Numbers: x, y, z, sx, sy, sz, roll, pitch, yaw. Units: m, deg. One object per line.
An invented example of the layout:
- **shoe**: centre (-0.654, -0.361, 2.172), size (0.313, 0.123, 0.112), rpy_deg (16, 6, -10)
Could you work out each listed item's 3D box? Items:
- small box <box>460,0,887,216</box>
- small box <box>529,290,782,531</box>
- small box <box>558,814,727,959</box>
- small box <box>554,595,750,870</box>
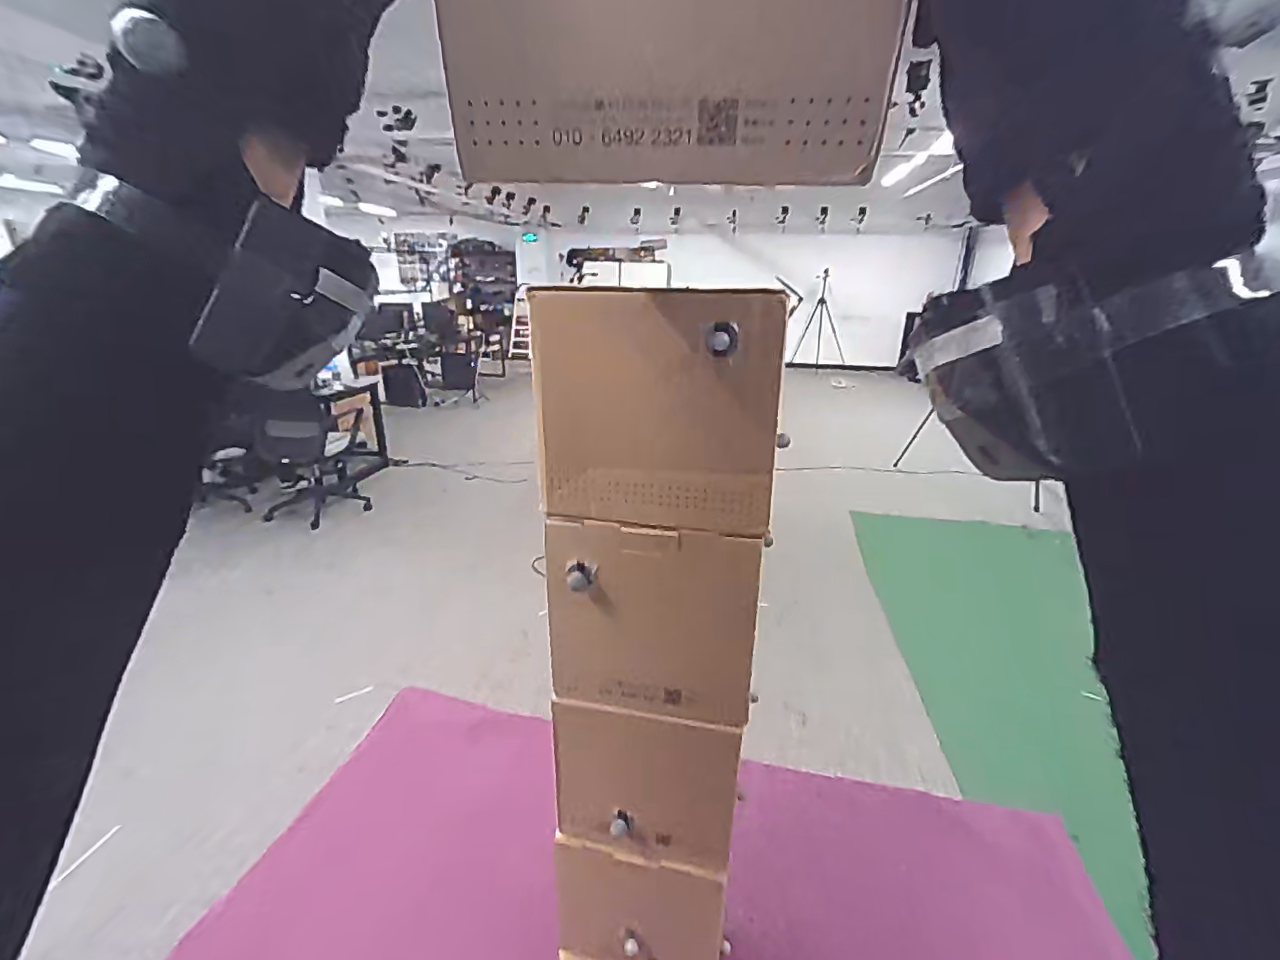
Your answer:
- **small box**: centre (0.018, -0.228, 0.261), size (0.168, 0.176, 0.179), rpy_deg (4, 29, 6)
- **small box**: centre (0.022, -0.066, 0.455), size (0.179, 0.176, 0.168), rpy_deg (5, 19, 11)
- **small box**: centre (0.015, 0.399, 0.608), size (0.168, 0.176, 0.179), rpy_deg (5, 20, 12)
- **small box**: centre (0.019, 0.244, 0.557), size (0.168, 0.176, 0.179), rpy_deg (5, 20, 12)
